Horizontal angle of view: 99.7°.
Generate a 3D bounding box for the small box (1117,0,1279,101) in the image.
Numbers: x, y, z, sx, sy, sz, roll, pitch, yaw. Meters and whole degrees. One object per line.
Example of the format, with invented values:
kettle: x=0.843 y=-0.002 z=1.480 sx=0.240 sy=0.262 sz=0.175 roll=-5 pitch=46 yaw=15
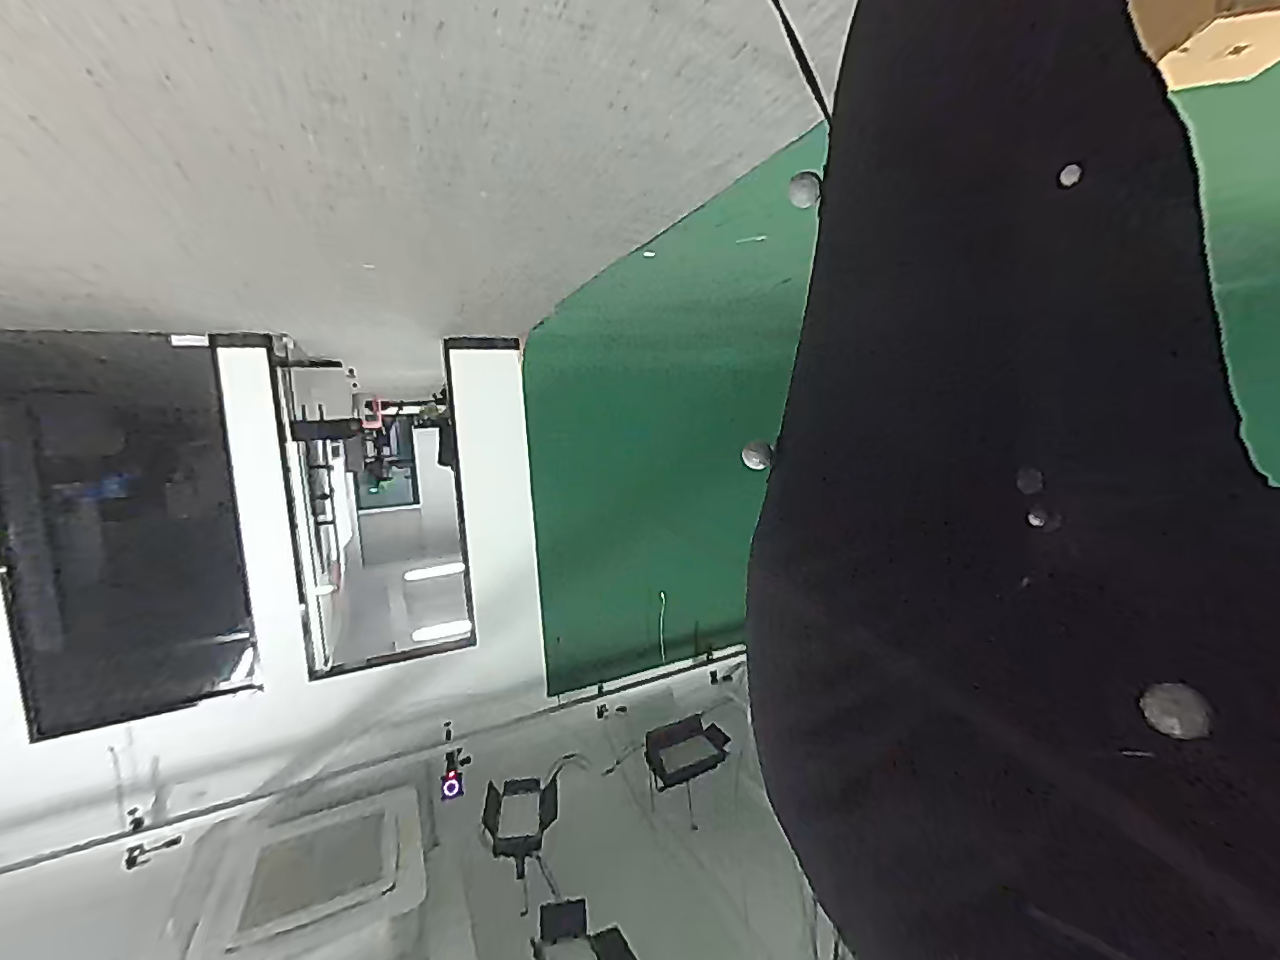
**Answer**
small box: x=0.803 y=-0.657 z=0.730 sx=0.179 sy=0.176 sz=0.168 roll=-1 pitch=-174 yaw=9
